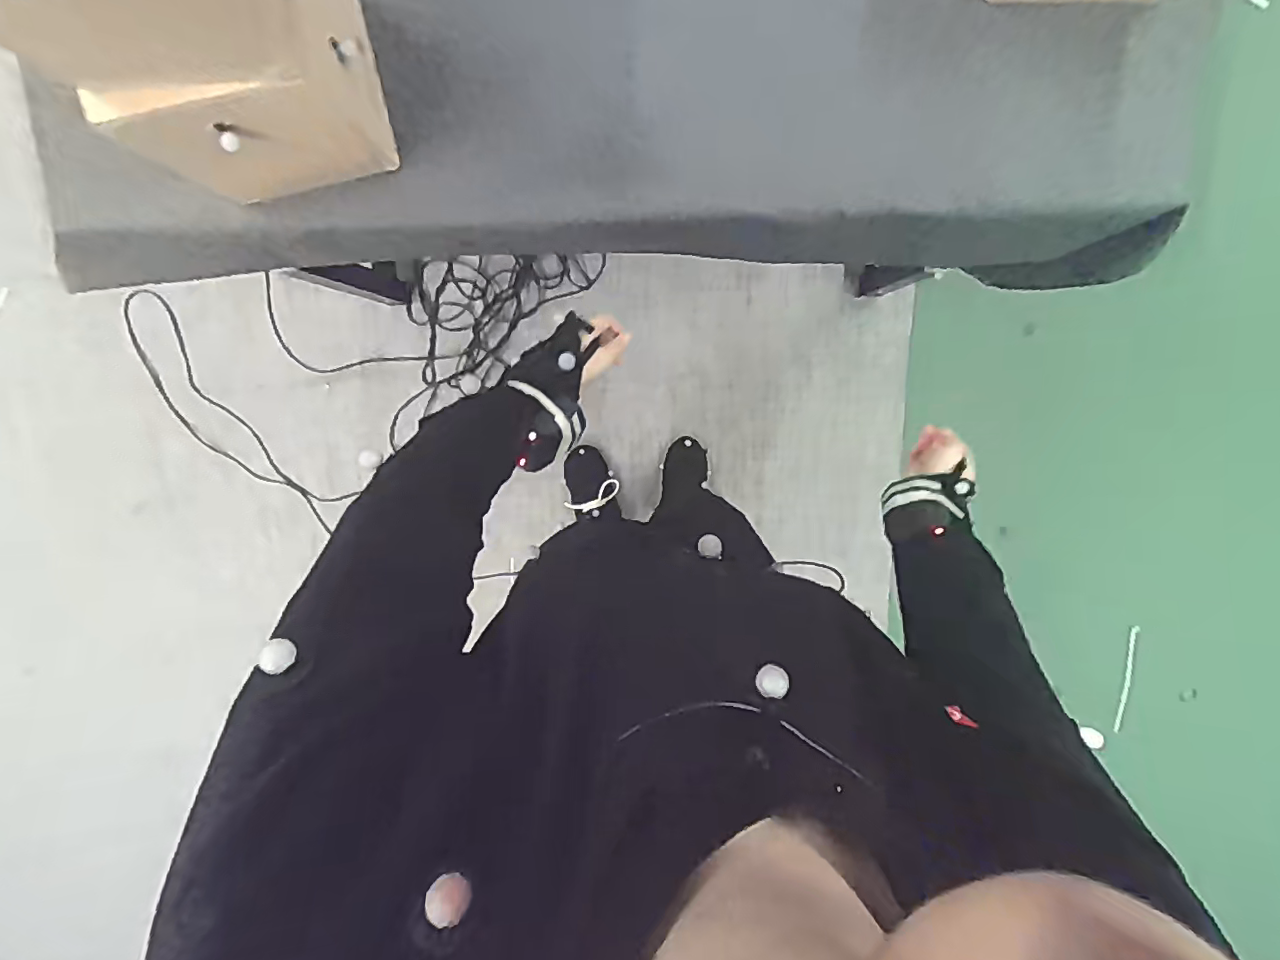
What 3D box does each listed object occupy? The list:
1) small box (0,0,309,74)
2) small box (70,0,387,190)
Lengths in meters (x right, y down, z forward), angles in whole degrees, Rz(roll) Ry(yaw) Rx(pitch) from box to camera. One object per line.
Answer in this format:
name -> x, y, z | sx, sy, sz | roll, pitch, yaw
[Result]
small box -> -0.332, -0.367, 0.308 | 0.179, 0.176, 0.168 | -3, 101, 0
small box -> -0.346, -0.380, 0.470 | 0.179, 0.176, 0.168 | -11, 99, 2
